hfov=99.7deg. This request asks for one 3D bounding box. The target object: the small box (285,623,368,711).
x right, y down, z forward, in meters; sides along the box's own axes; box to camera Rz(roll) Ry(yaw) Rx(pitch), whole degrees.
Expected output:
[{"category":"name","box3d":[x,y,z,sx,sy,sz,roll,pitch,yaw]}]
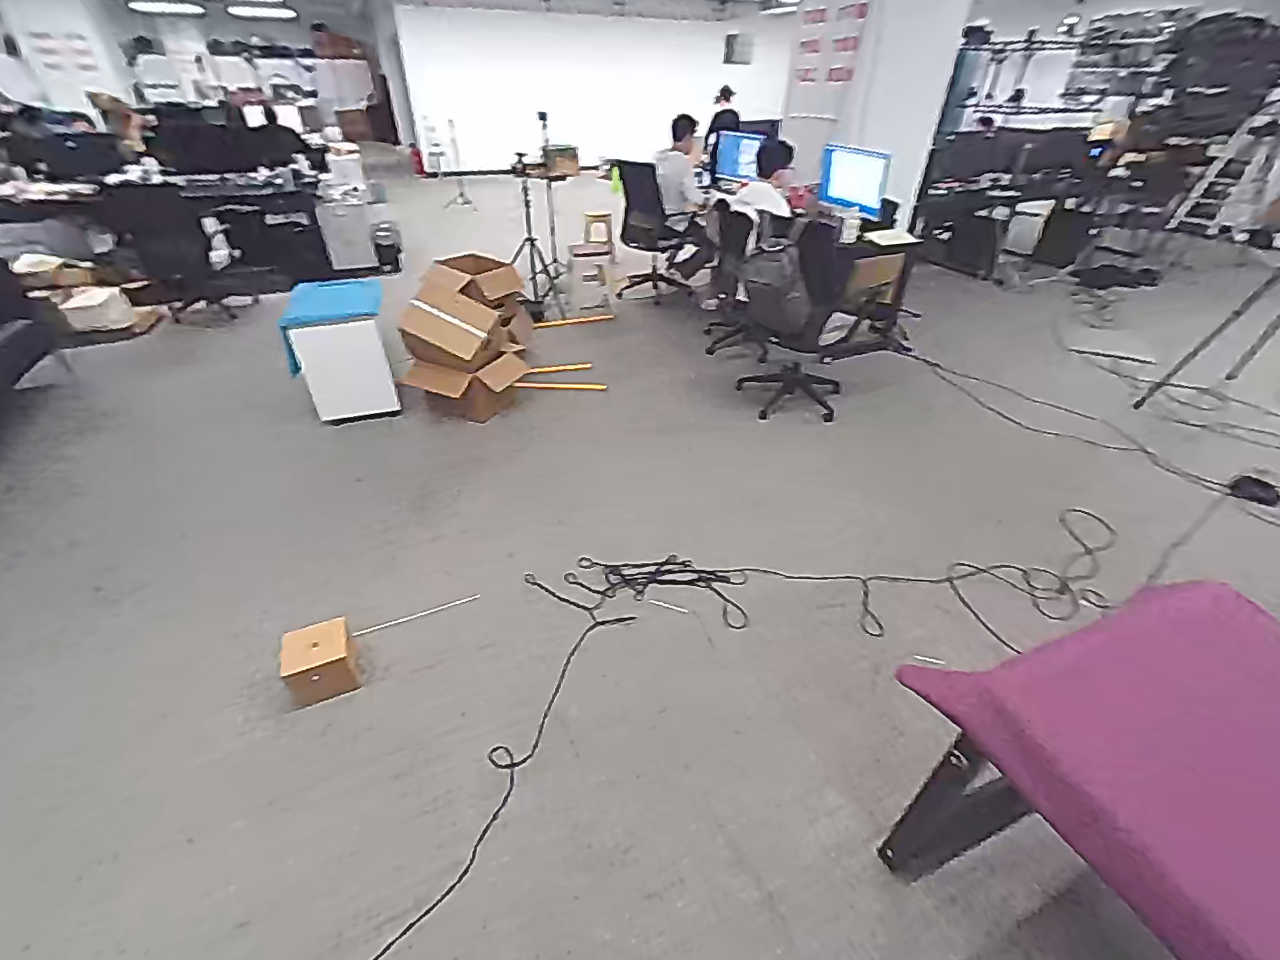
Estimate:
[{"category":"small box","box3d":[-0.965,0.582,1.675,0.179,0.176,0.168,-15,39,-19]}]
